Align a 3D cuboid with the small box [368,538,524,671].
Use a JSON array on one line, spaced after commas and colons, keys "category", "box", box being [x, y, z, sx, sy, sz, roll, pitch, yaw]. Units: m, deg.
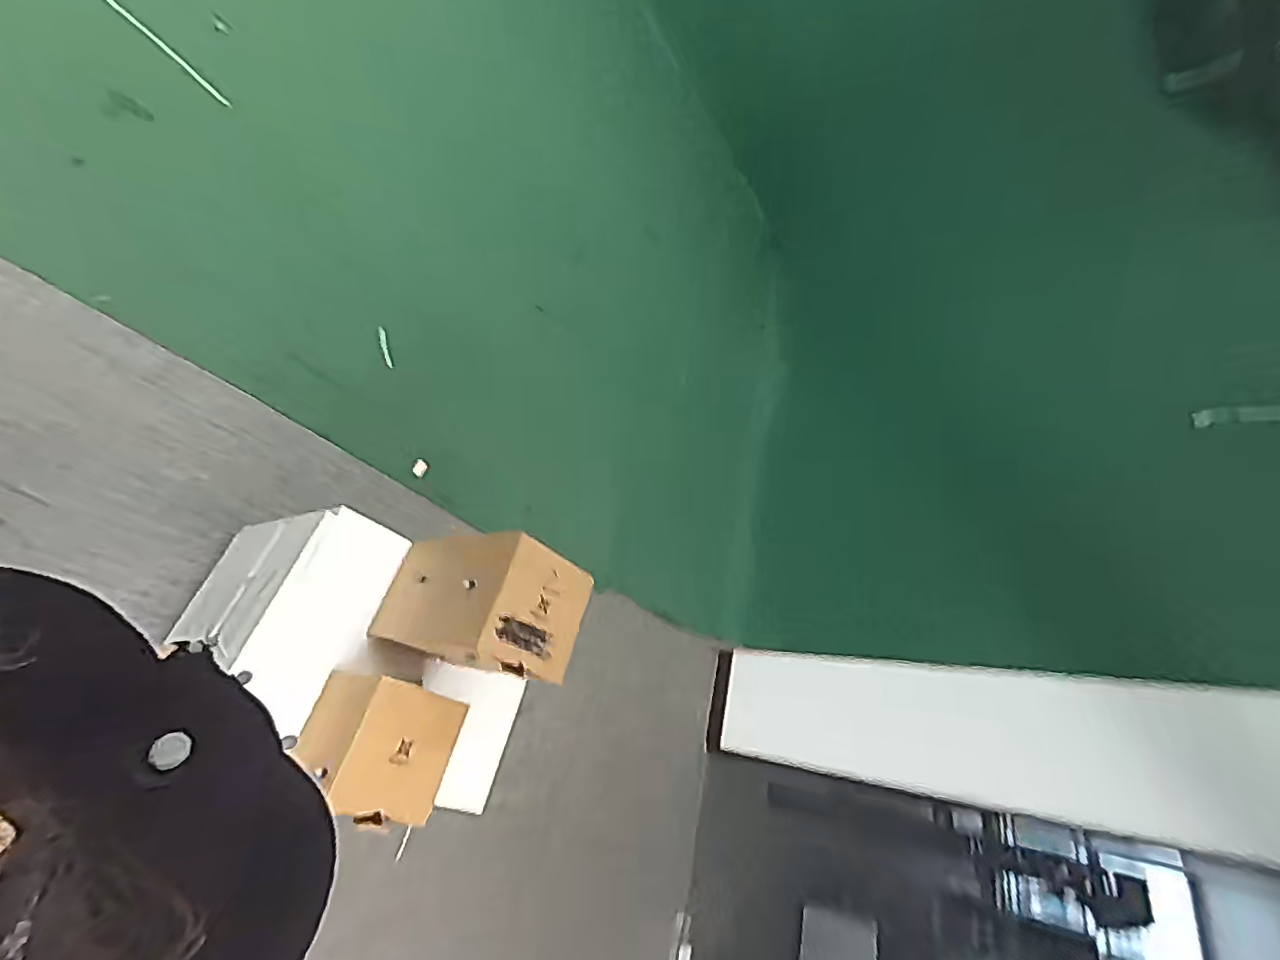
[{"category": "small box", "box": [-0.342, 0.218, 0.955, 0.168, 0.176, 0.179, 41, 54, -39]}]
